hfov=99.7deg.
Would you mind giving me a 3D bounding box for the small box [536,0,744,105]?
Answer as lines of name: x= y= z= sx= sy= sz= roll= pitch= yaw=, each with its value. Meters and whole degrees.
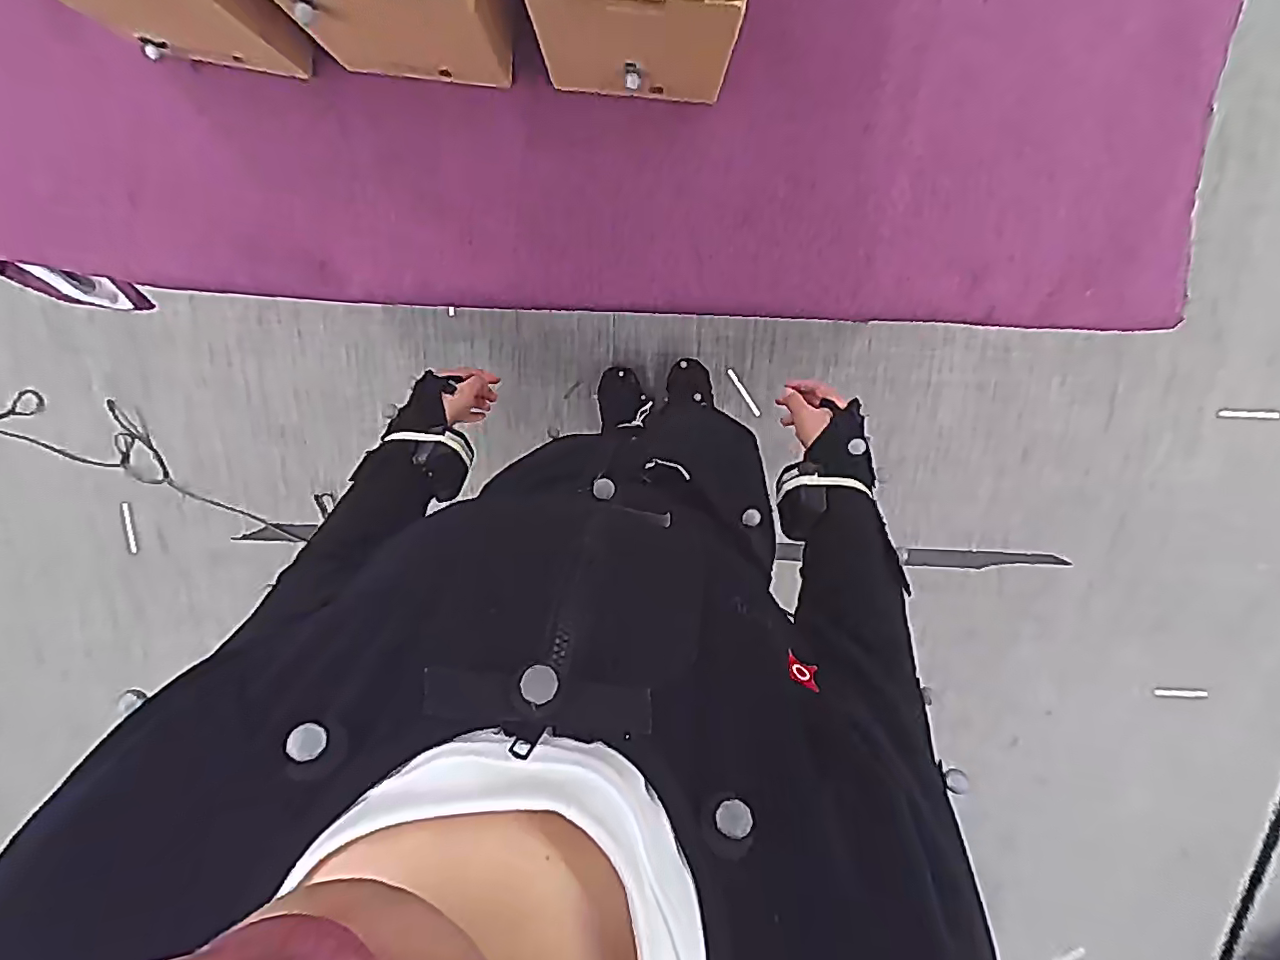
small box: x=0.002 y=-0.451 z=0.445 sx=0.168 sy=0.176 sz=0.179 roll=5 pitch=103 yaw=-1
